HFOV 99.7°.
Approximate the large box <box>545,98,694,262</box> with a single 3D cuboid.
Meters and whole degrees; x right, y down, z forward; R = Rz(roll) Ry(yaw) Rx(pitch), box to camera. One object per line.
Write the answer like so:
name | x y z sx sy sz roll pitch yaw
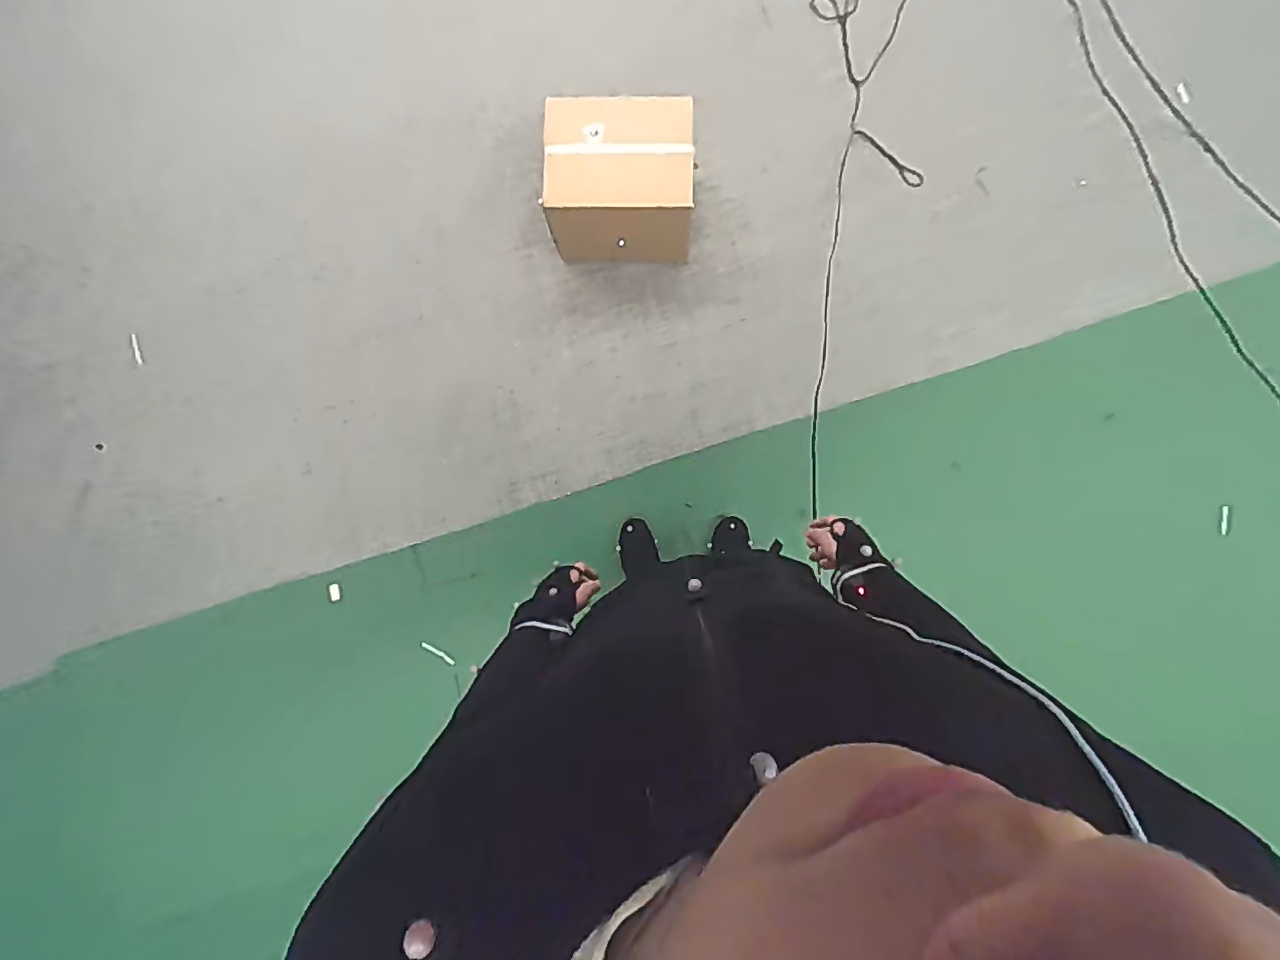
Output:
large box | -0.046 -0.863 1.597 0.408 0.320 0.320 1 85 3
